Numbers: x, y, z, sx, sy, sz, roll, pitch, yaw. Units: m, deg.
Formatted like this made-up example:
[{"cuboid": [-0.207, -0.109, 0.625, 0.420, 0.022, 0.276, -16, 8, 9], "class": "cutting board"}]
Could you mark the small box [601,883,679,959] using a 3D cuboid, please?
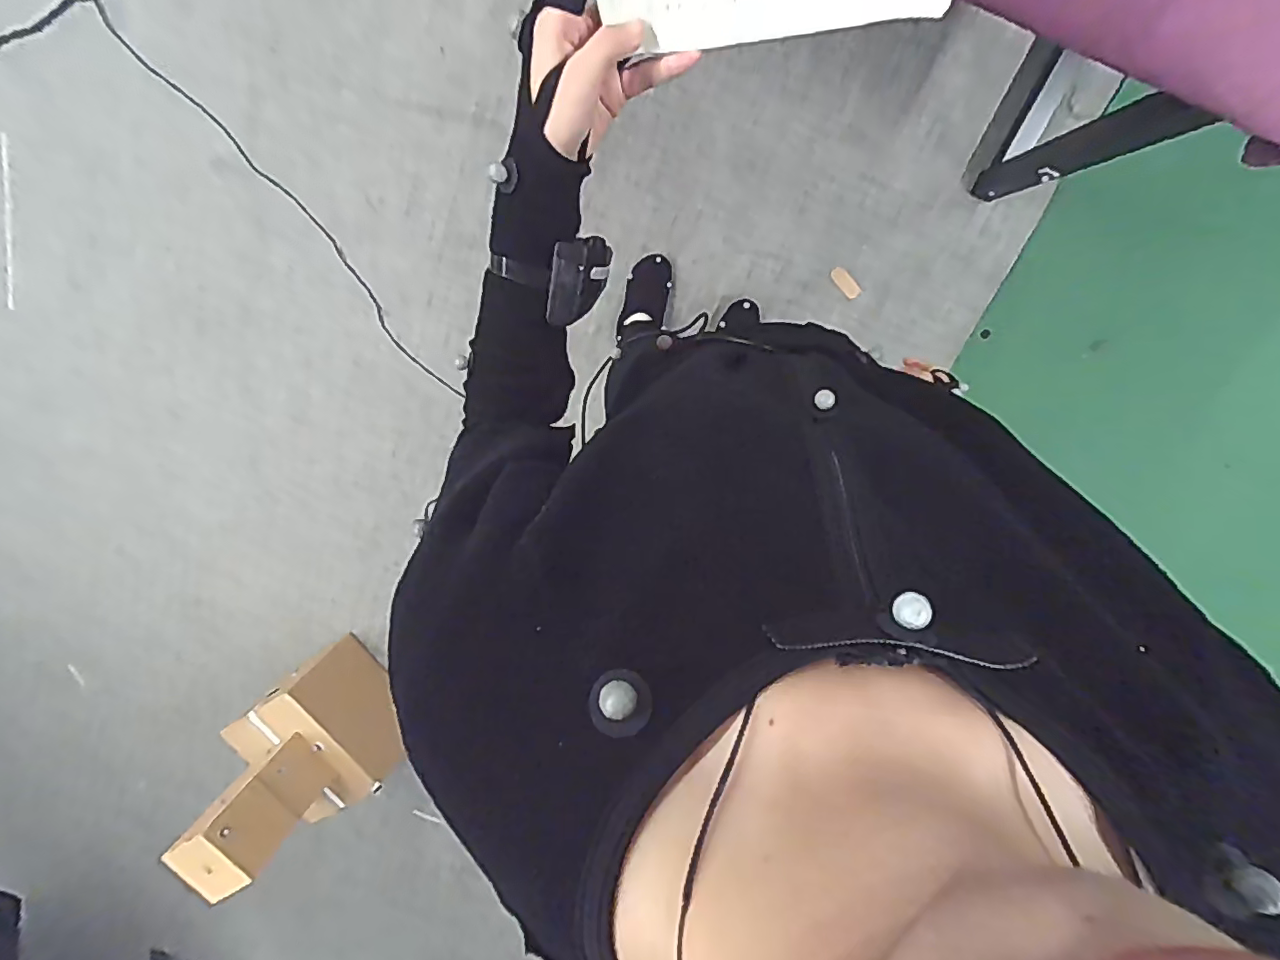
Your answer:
[{"cuboid": [-0.003, 1.152, 1.341, 0.168, 0.176, 0.179, 14, 108, 2], "class": "small box"}]

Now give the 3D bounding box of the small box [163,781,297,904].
[{"cuboid": [-1.029, 0.915, 1.375, 0.168, 0.176, 0.179, -34, 100, 15], "class": "small box"}]

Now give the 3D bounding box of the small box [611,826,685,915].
[{"cuboid": [0.024, 1.101, 1.495, 0.179, 0.176, 0.168, 12, 107, 2], "class": "small box"}]

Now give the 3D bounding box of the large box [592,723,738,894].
[{"cuboid": [0.076, 1.029, 1.724, 0.408, 0.320, 0.320, 9, 110, 2], "class": "large box"}]
